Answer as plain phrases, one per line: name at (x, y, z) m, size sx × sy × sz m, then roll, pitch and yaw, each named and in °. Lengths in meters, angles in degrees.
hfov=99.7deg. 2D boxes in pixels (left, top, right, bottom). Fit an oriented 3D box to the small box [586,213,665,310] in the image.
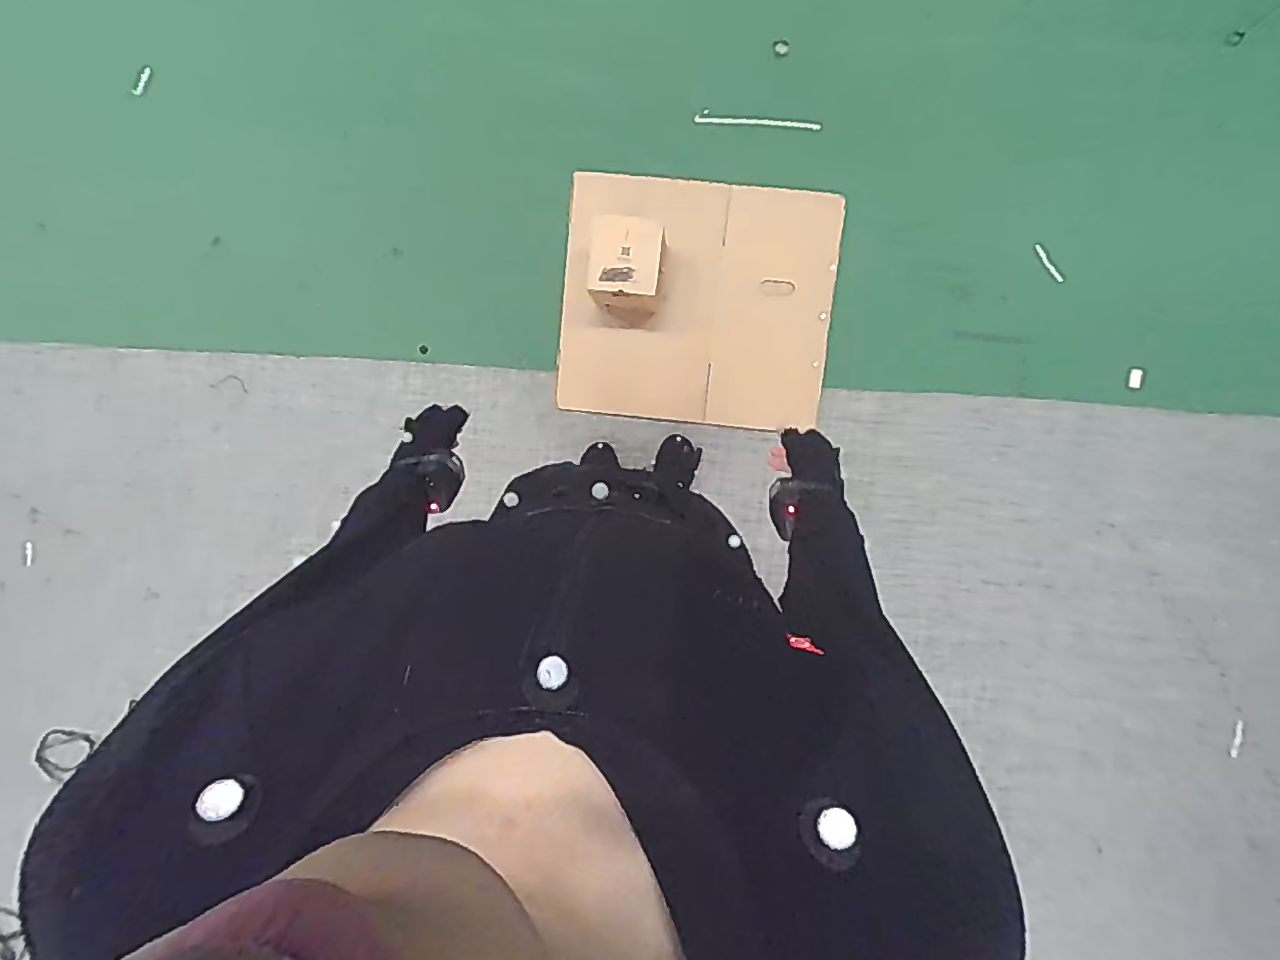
small box at (-0.029, -0.524, 1.319) m, size 0.168 × 0.176 × 0.179 m, roll 7°, pitch 95°, yaw 3°
